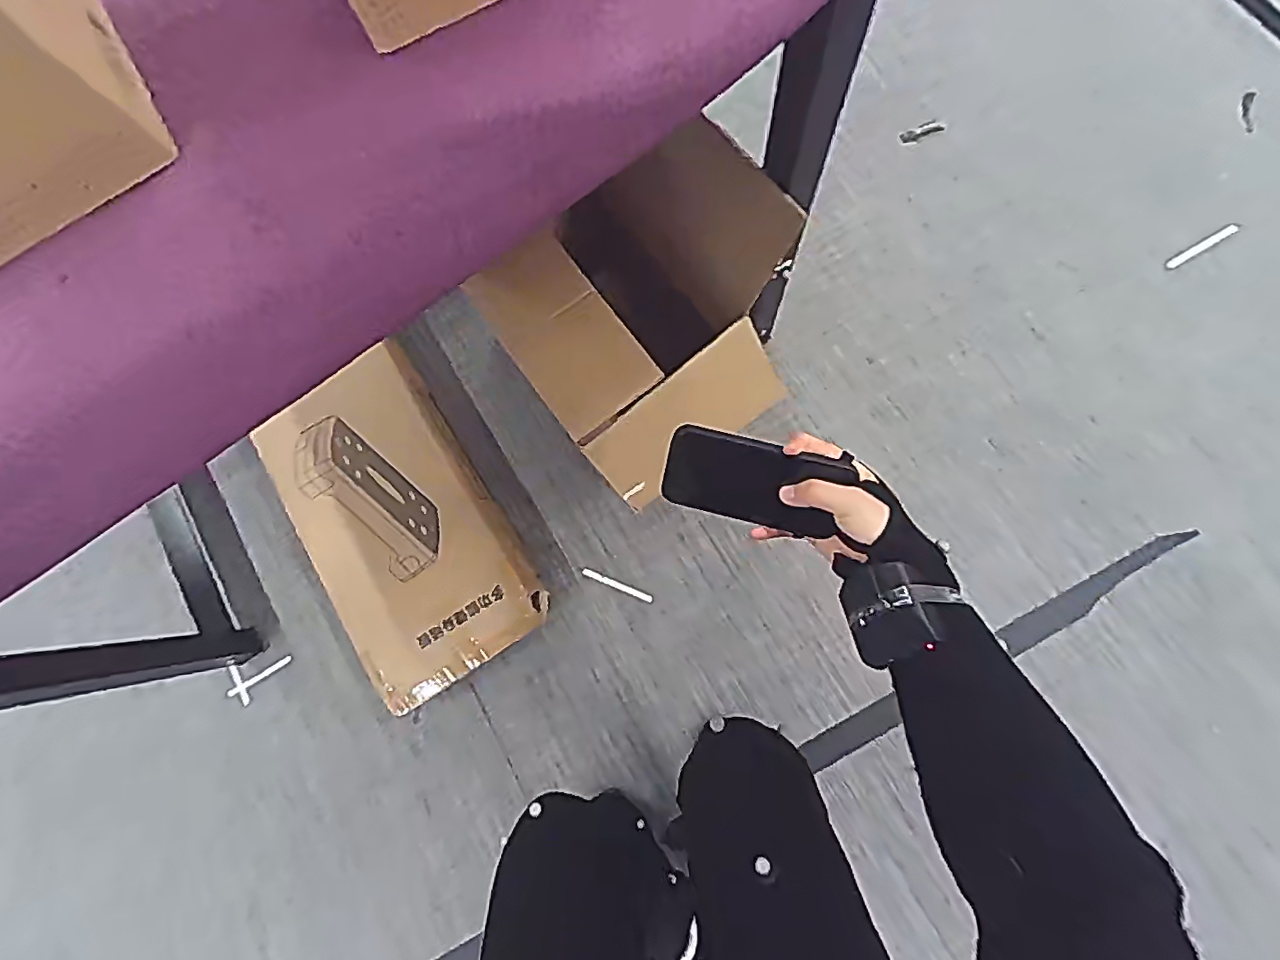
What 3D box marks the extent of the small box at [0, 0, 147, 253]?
[{"bbox_3d":[-0.411,-0.242,0.276,0.179,0.176,0.168,-33,76,-2],"label":"small box"}]
